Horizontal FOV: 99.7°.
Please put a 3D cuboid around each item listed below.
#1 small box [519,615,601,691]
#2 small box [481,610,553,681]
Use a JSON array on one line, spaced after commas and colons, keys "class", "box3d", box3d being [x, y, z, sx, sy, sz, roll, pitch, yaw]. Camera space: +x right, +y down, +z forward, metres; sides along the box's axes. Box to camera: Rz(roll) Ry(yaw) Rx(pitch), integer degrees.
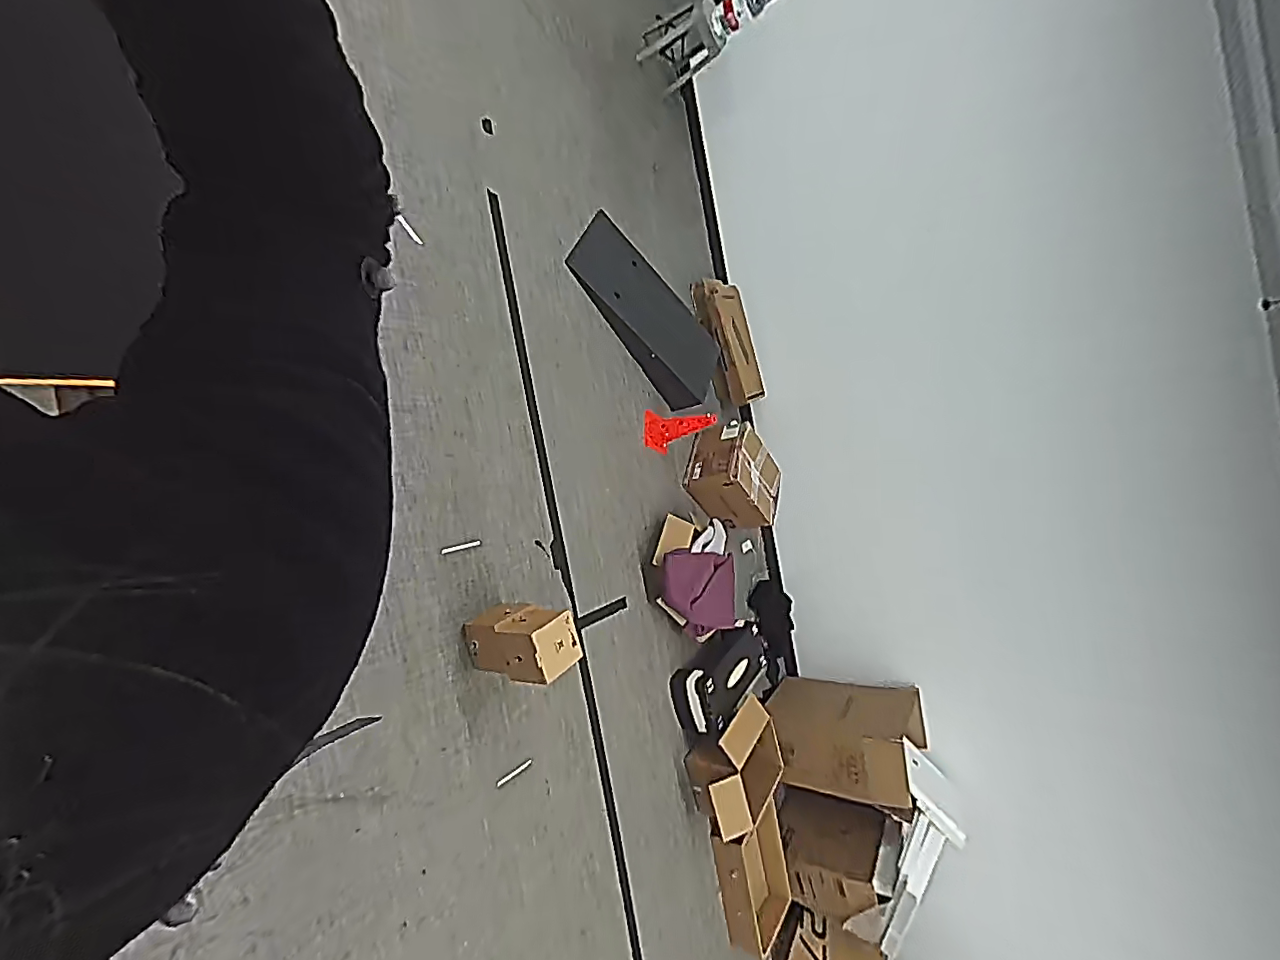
[{"class": "small box", "box3d": [-0.254, 0.531, 1.677, 0.179, 0.176, 0.168, -24, 102, -53]}, {"class": "small box", "box3d": [-0.388, 0.534, 1.773, 0.179, 0.176, 0.168, -23, 101, -52]}]
